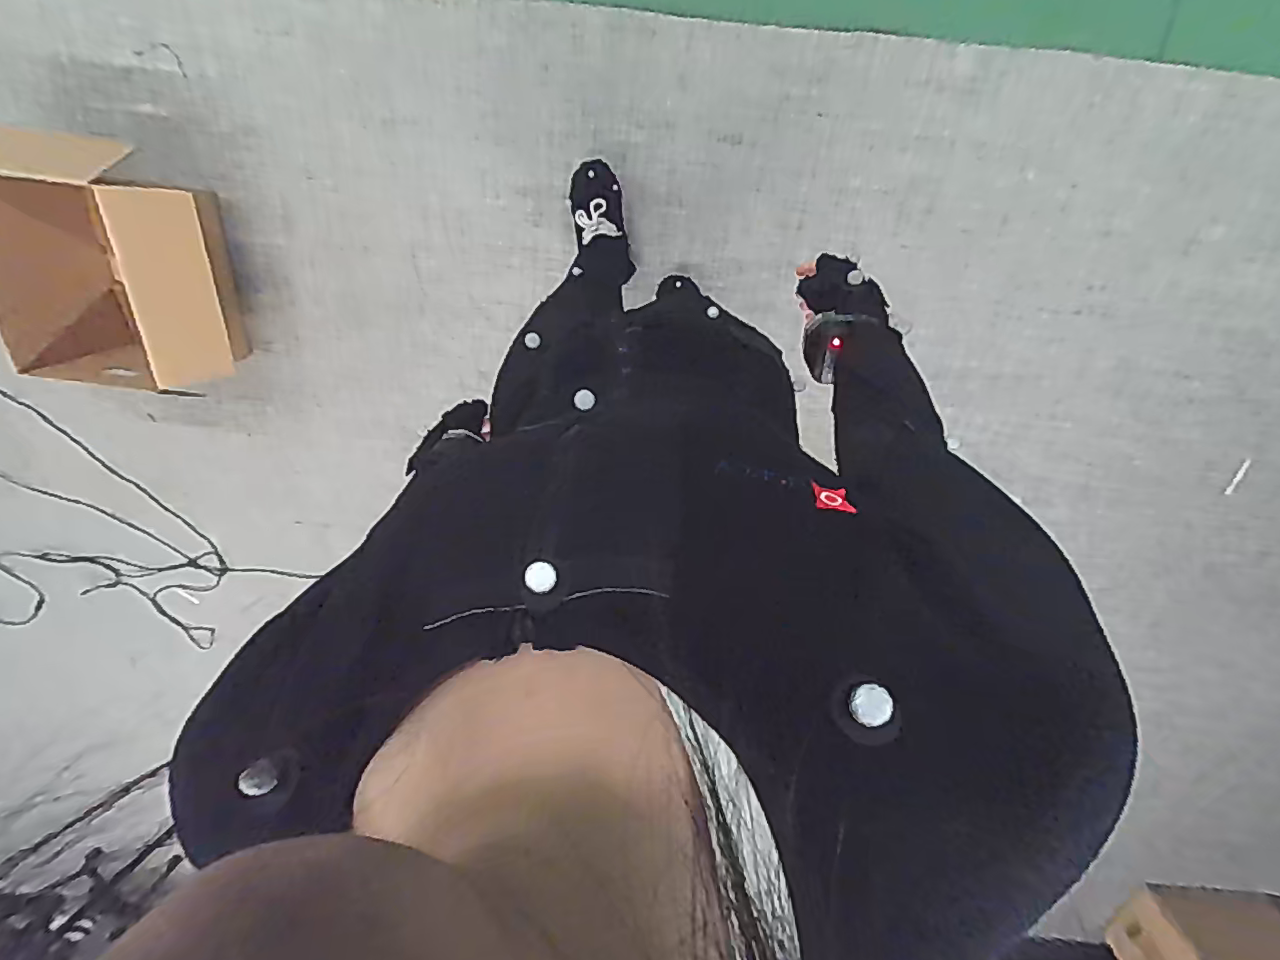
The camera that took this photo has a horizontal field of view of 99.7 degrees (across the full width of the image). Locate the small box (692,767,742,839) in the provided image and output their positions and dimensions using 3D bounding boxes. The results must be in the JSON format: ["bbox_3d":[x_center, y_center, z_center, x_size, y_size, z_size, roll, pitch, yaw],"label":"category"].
[{"bbox_3d":[0.291,1.248,2.088,0.168,0.176,0.179,4,116,0],"label":"small box"}]
